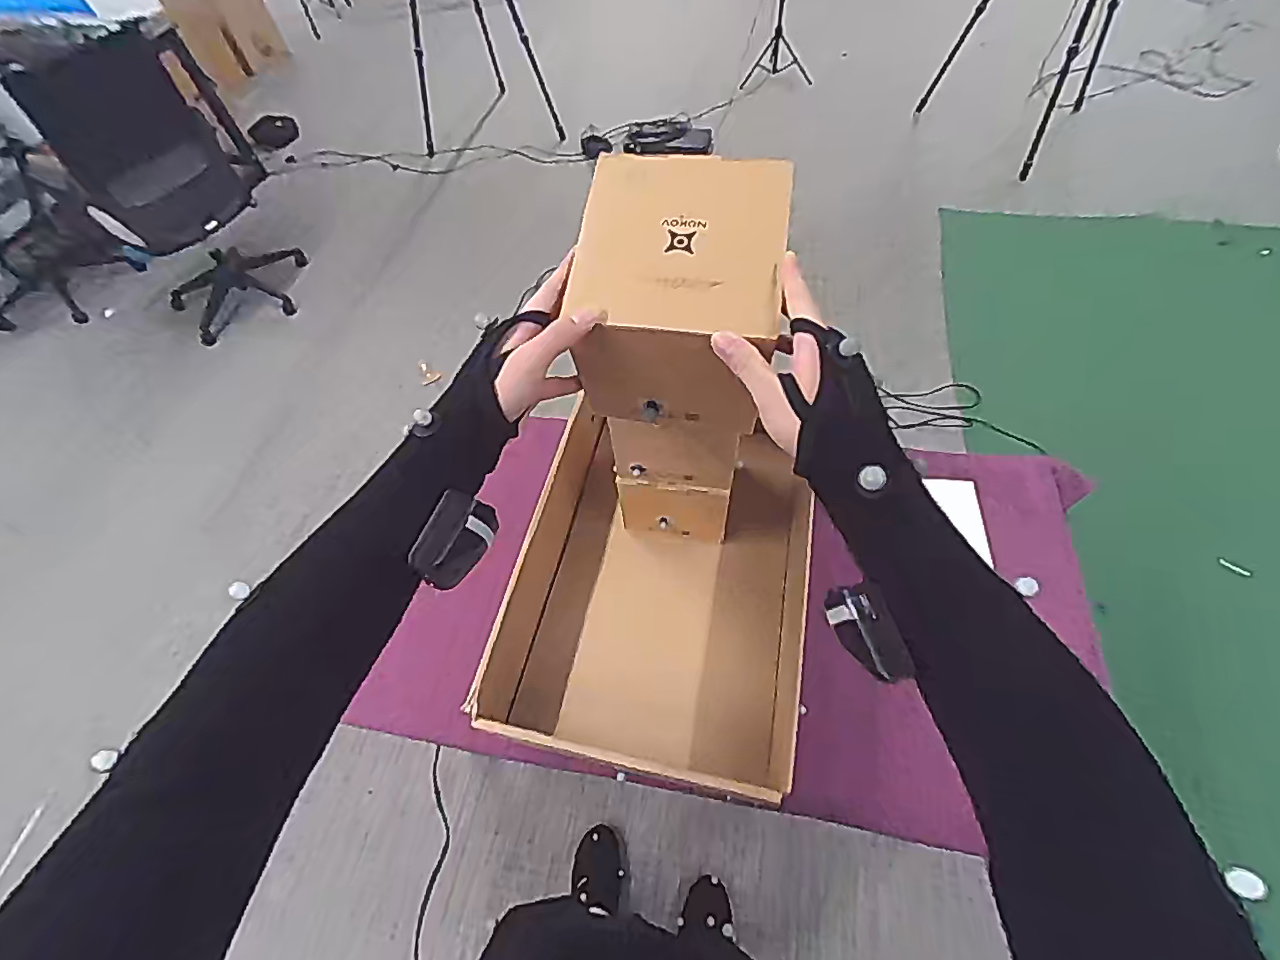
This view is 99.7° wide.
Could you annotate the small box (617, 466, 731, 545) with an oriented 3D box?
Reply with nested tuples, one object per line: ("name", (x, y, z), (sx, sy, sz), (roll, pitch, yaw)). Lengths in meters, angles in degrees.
("small box", (0.064, -0.014, 0.889), (0.168, 0.176, 0.179), (7, 60, 8))

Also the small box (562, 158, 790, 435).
("small box", (0.038, -0.163, 0.510), (0.168, 0.176, 0.179), (7, 71, 8))

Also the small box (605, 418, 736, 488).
("small box", (0.055, -0.107, 0.754), (0.168, 0.176, 0.179), (6, 59, 8))
